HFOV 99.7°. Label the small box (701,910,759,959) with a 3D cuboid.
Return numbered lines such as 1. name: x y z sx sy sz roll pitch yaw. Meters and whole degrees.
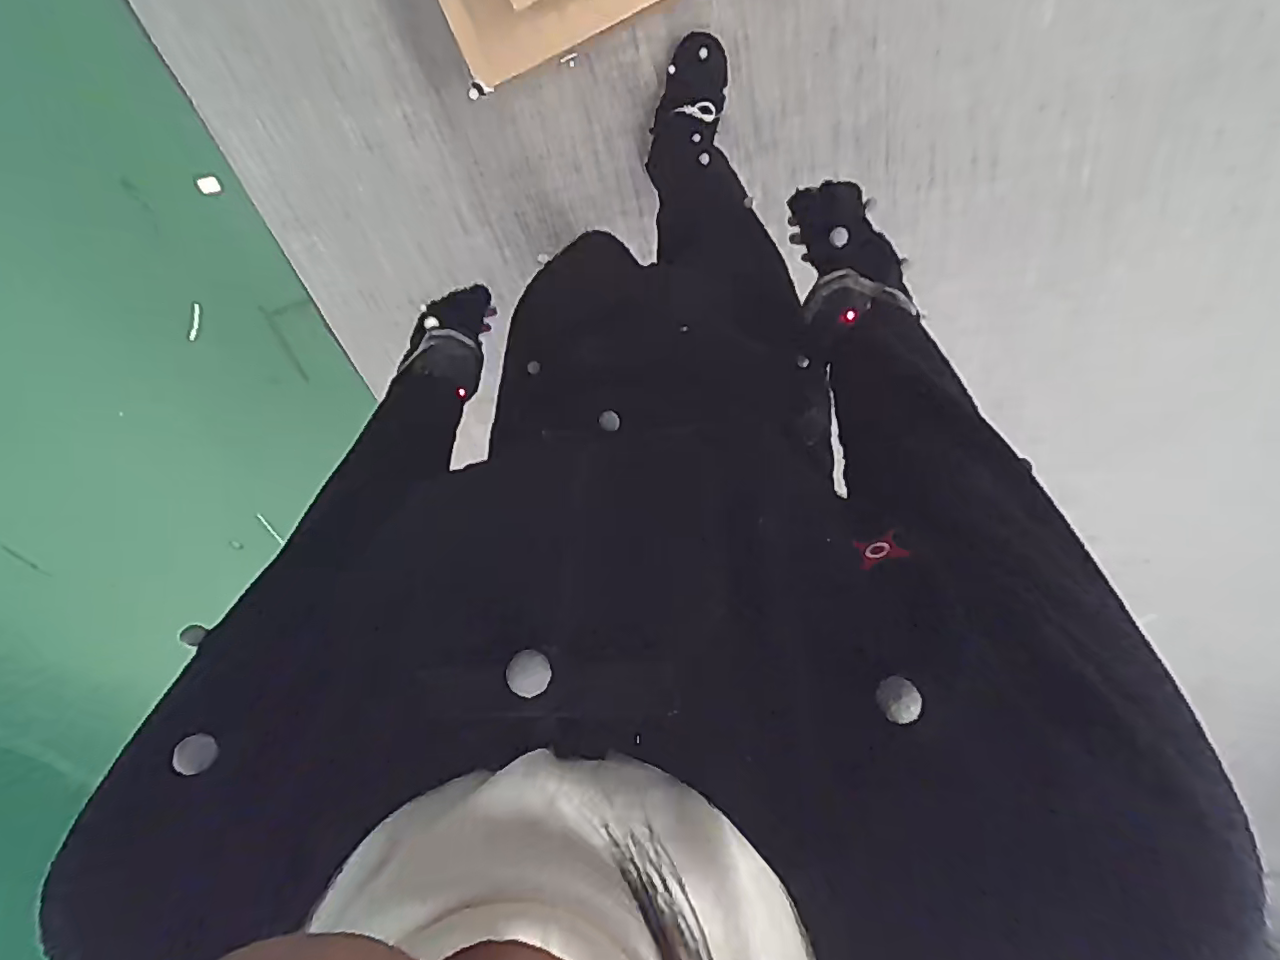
1. small box: 0.314 1.615 1.870 0.179 0.176 0.168 -10 127 13
